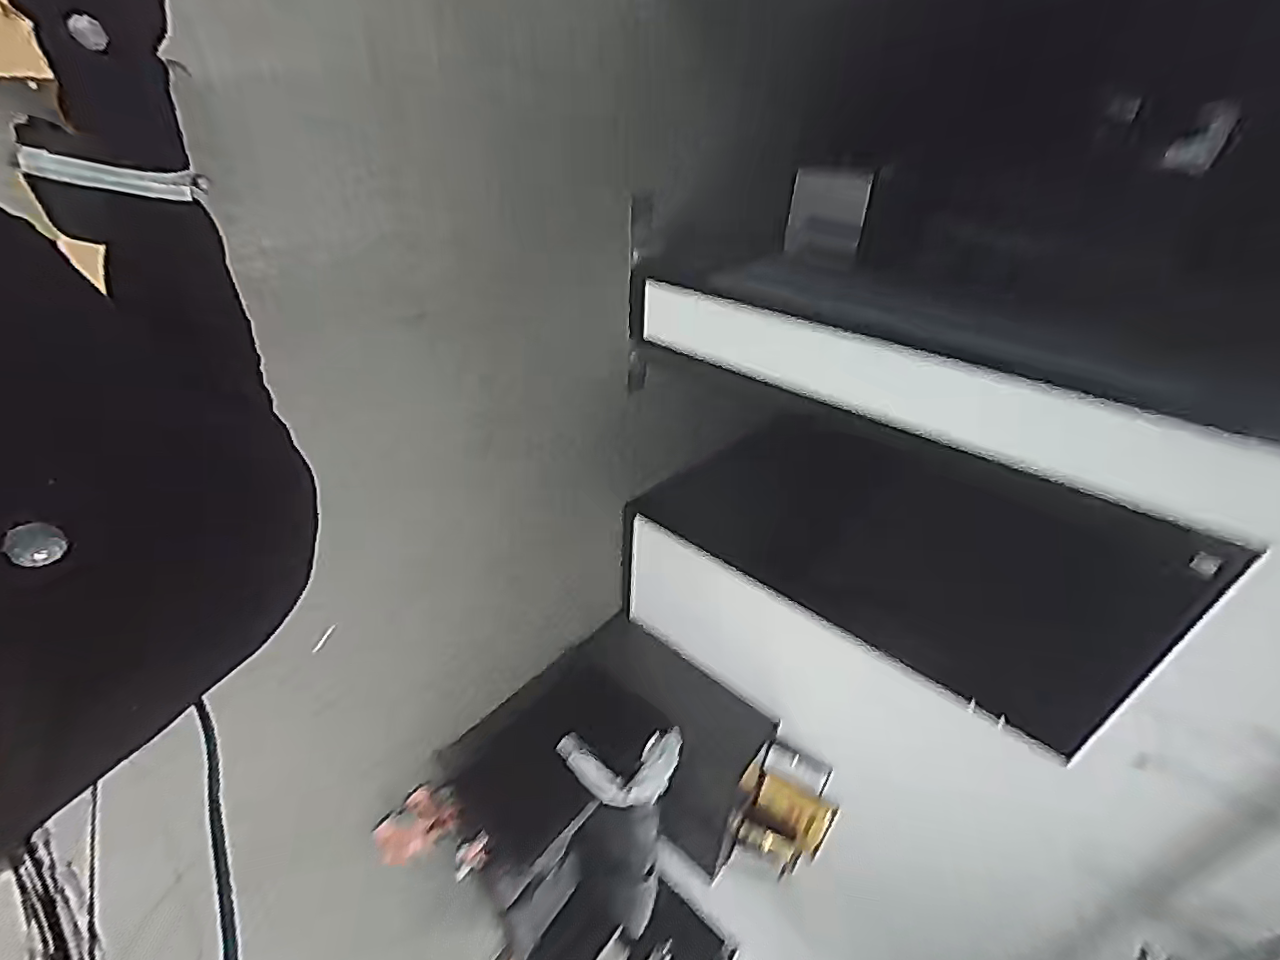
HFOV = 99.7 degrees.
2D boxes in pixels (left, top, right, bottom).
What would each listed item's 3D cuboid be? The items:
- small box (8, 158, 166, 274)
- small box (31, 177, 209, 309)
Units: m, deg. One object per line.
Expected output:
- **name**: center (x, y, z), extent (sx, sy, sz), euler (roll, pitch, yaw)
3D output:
- **small box**: center (-0.977, -0.471, 0.976), extent (0.179, 0.176, 0.168), euler (-22, 130, -46)
- **small box**: center (-0.857, -0.391, 0.896), extent (0.168, 0.176, 0.179), euler (-22, 130, -46)
